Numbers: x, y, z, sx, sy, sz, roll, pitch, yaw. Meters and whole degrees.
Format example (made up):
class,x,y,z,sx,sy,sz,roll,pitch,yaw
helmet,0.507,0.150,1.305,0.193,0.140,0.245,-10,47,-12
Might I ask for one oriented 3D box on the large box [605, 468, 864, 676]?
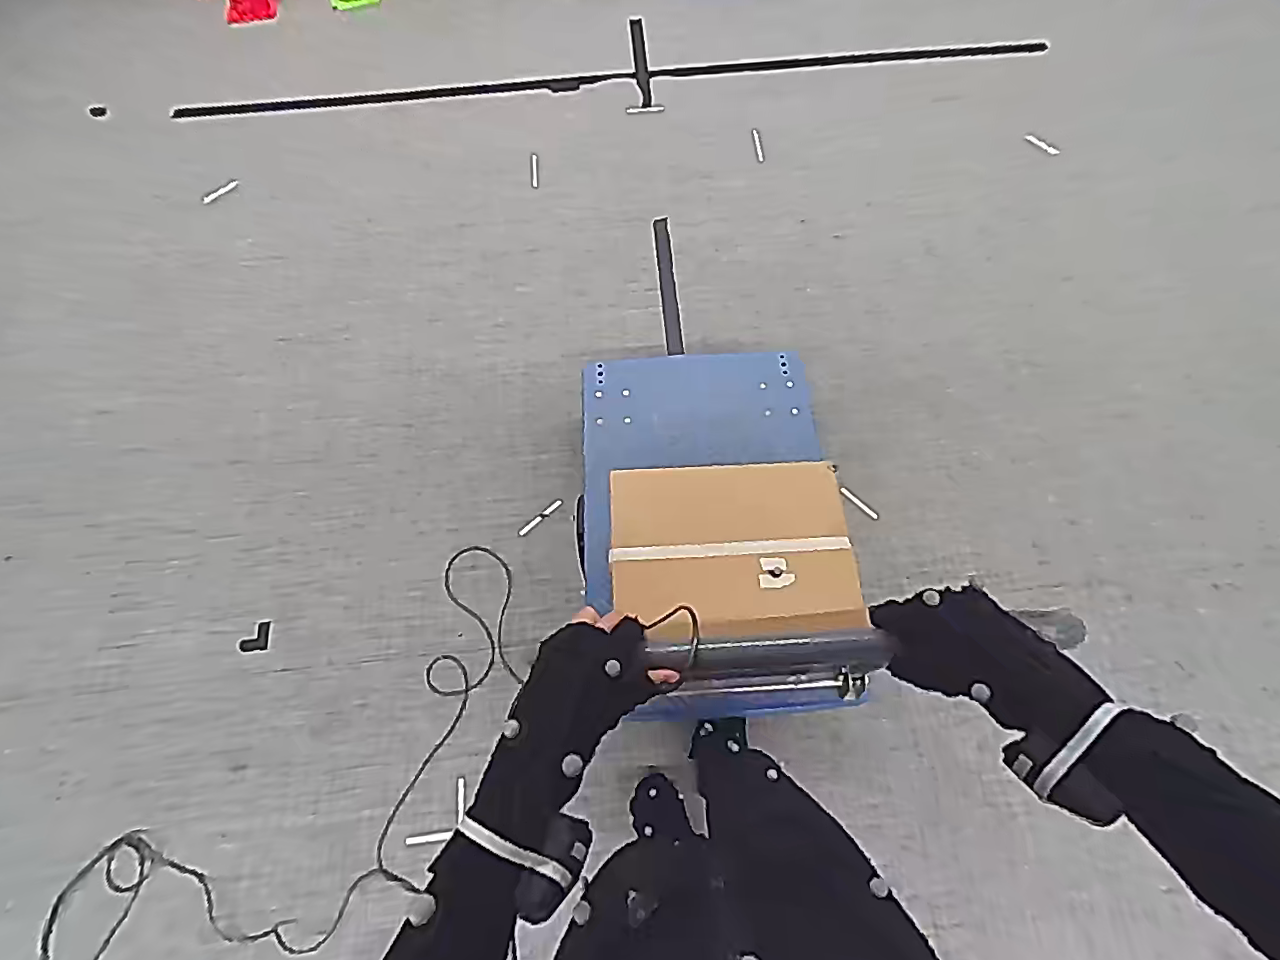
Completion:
class,x,y,z,sx,sy,sz,roll,pitch,yaw
large box,0.145,0.190,1.039,0.408,0.320,0.320,-3,67,-2
